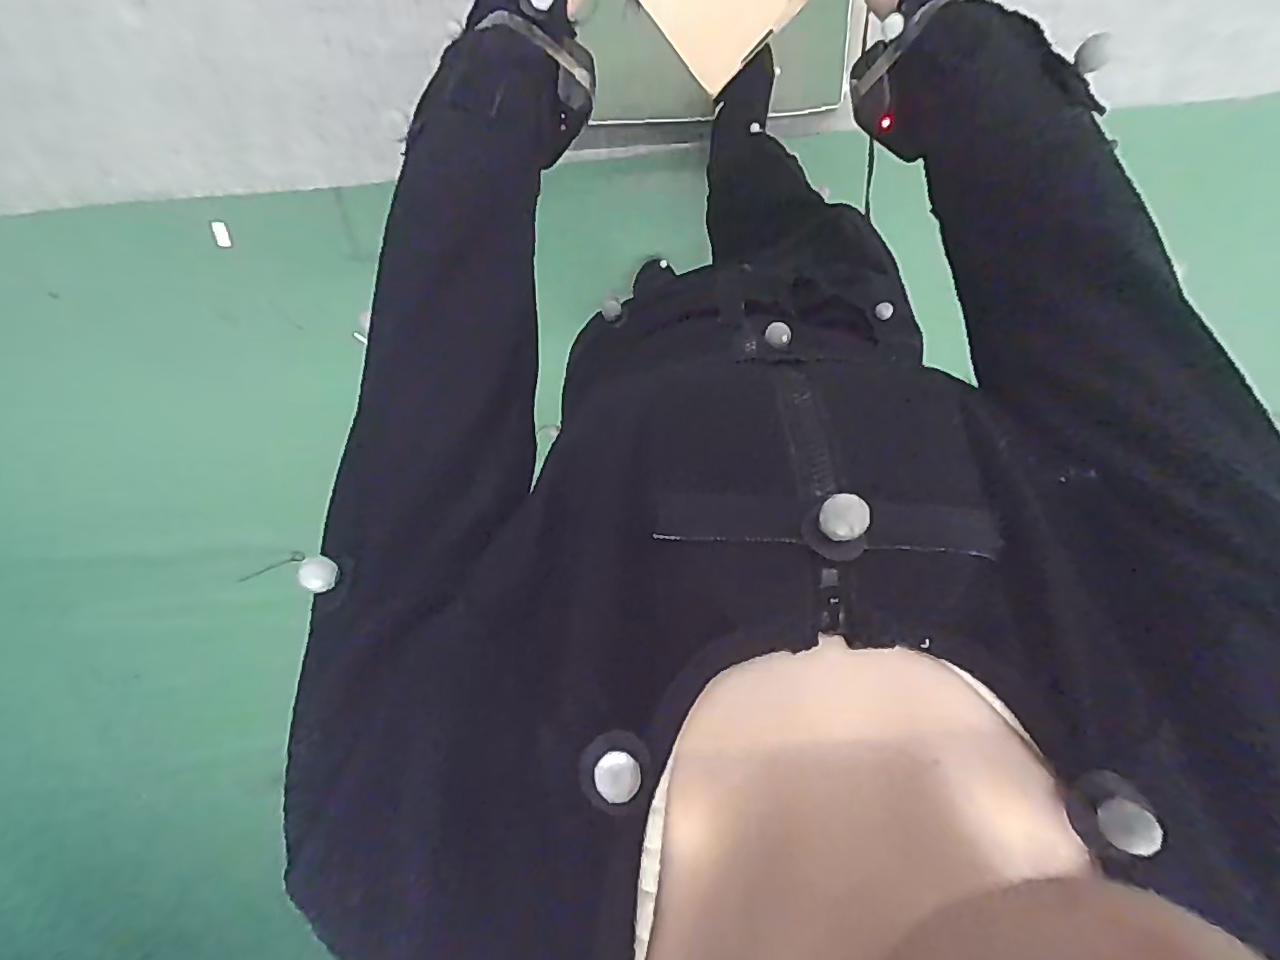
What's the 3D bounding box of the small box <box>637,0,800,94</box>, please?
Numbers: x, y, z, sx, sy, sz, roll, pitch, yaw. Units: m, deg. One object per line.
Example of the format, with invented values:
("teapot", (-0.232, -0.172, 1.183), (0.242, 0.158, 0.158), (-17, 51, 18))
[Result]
("small box", (0.056, -0.449, 0.415), (0.168, 0.176, 0.179), (-36, 121, 27))
